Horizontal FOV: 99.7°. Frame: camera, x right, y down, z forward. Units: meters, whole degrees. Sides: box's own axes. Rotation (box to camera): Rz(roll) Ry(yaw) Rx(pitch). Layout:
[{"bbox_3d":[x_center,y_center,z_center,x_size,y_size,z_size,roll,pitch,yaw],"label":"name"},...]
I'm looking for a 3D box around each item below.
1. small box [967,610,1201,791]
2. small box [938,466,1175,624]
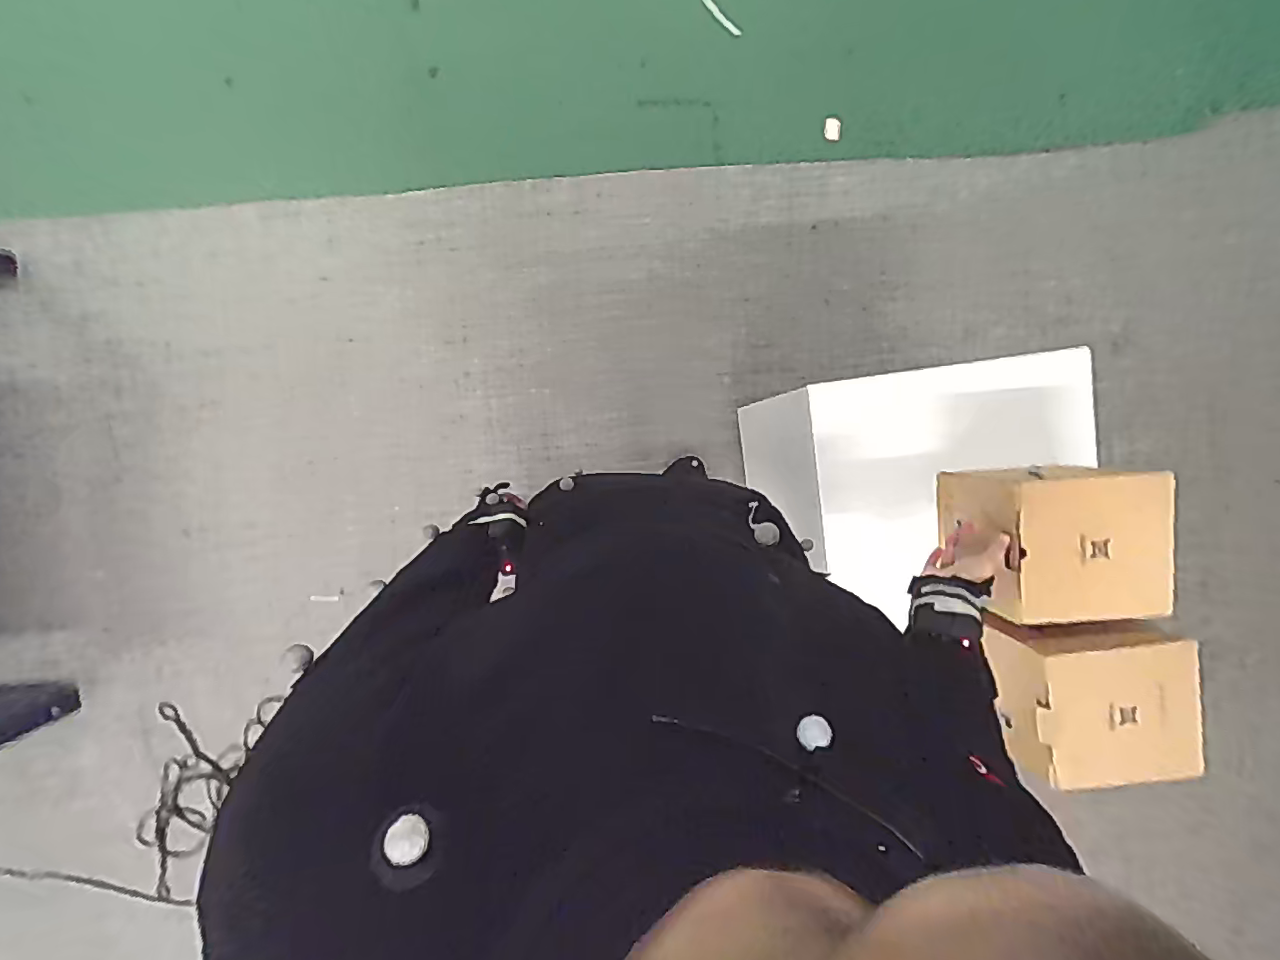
[{"bbox_3d":[0.552,0.265,0.700,0.179,0.176,0.168,-7,95,0],"label":"small box"},{"bbox_3d":[0.511,0.072,0.687,0.179,0.176,0.168,-3,95,1],"label":"small box"}]
